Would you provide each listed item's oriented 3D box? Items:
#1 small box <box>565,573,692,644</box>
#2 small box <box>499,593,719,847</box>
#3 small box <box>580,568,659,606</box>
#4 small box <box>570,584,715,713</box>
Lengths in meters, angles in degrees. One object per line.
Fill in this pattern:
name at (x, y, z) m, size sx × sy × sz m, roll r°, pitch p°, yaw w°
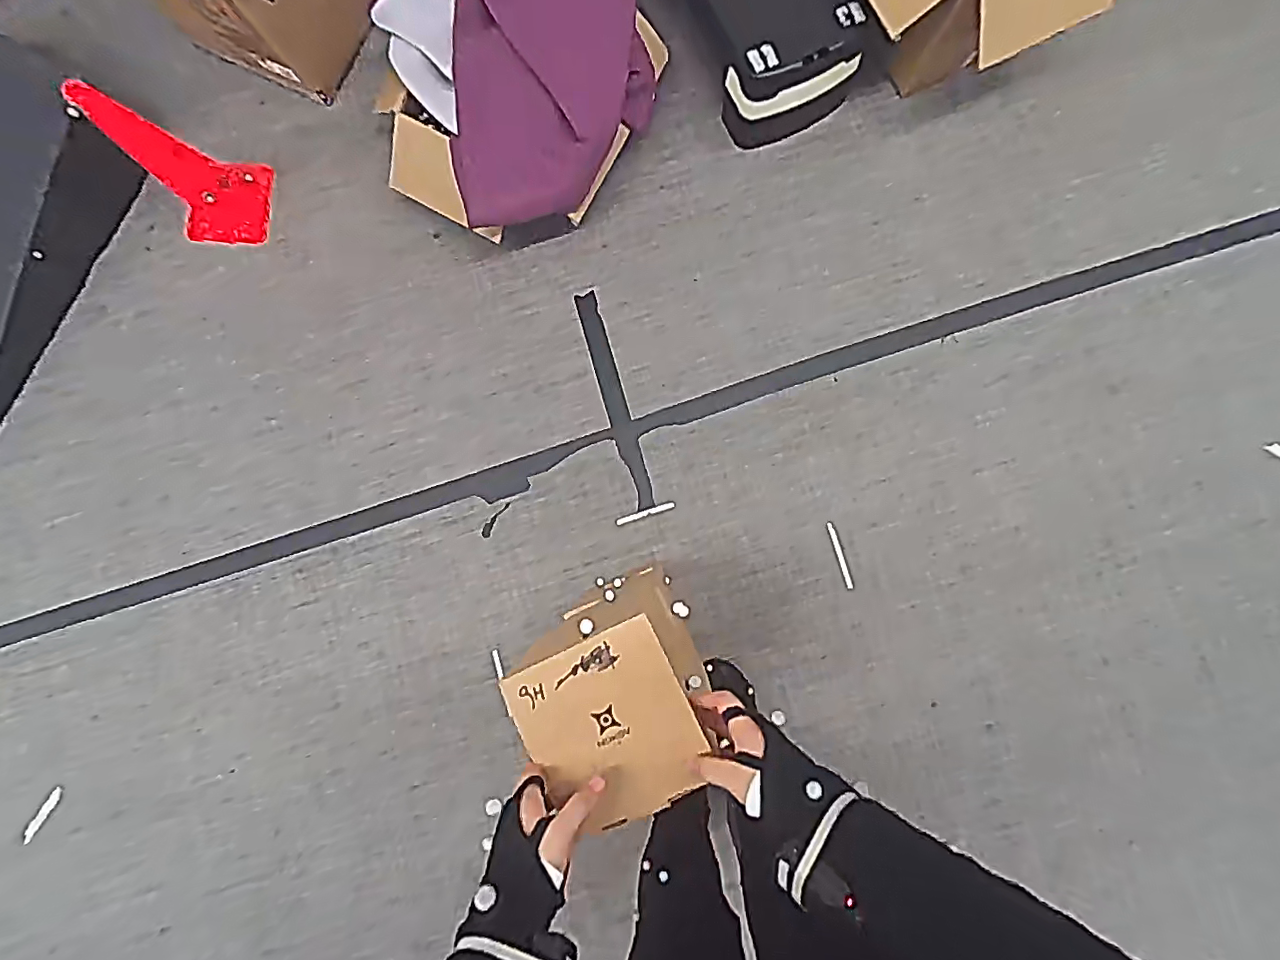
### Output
small box at (-0.011, 0.275, 0.956) m, size 0.179 × 0.176 × 0.168 m, roll -22°, pitch 85°, yaw 0°
small box at (-0.024, 0.247, 0.602) m, size 0.168 × 0.176 × 0.179 m, roll -26°, pitch 87°, yaw 3°
small box at (-0.009, 0.292, 1.120) m, size 0.168 × 0.176 × 0.179 m, roll -24°, pitch 86°, yaw 1°
small box at (-0.008, 0.264, 0.791) m, size 0.168 × 0.176 × 0.179 m, roll -26°, pitch 85°, yaw 1°
